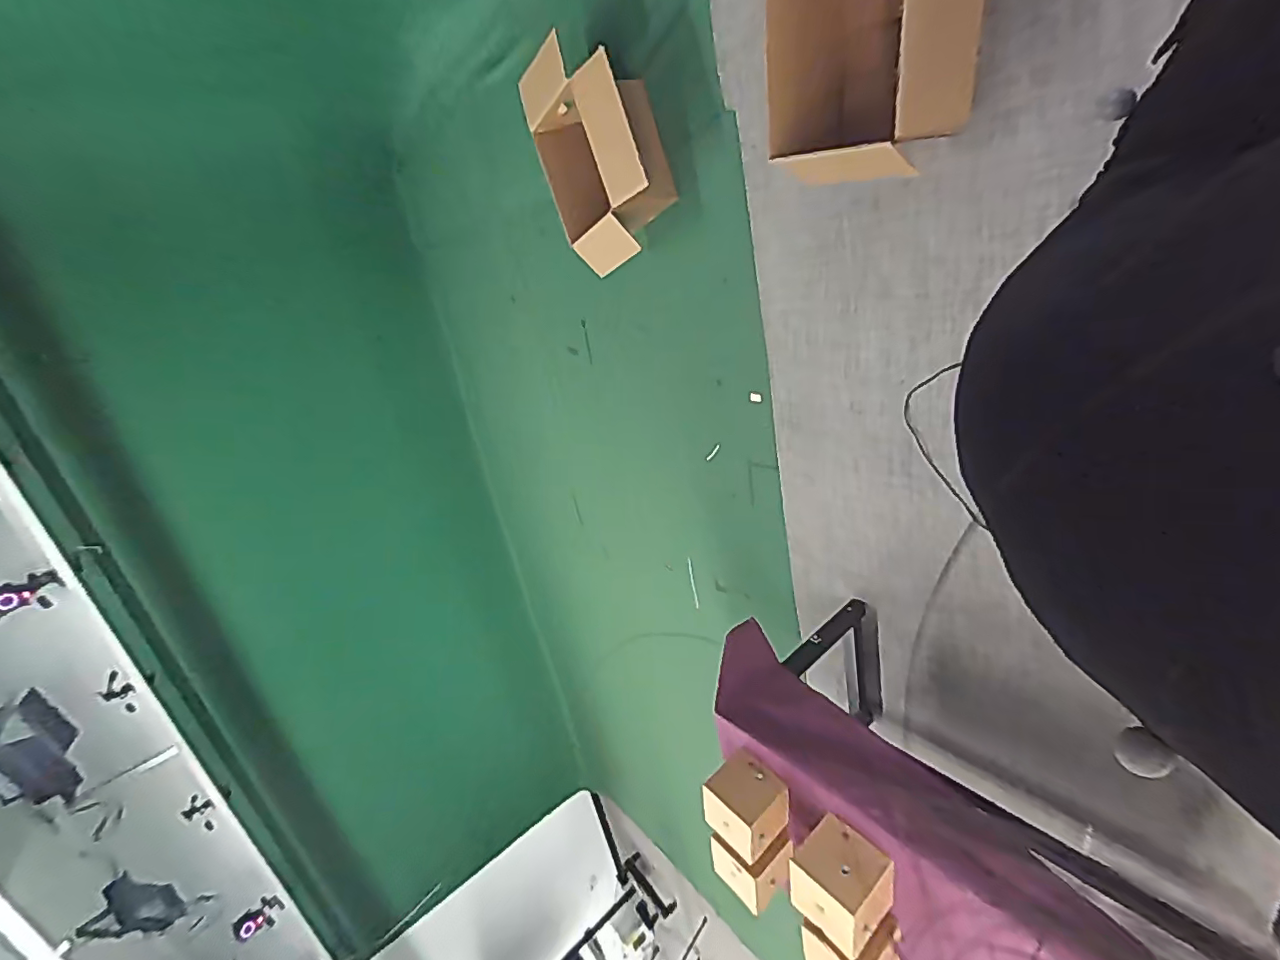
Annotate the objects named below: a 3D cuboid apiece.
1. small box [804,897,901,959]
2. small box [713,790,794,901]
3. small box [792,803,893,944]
[{"bbox_3d":[0.535,1.127,1.356,0.168,0.176,0.179,17,126,49],"label":"small box"},{"bbox_3d":[0.338,1.069,1.592,0.168,0.176,0.179,22,130,45],"label":"small box"},{"bbox_3d":[0.481,0.922,1.284,0.168,0.176,0.179,20,128,47],"label":"small box"}]
